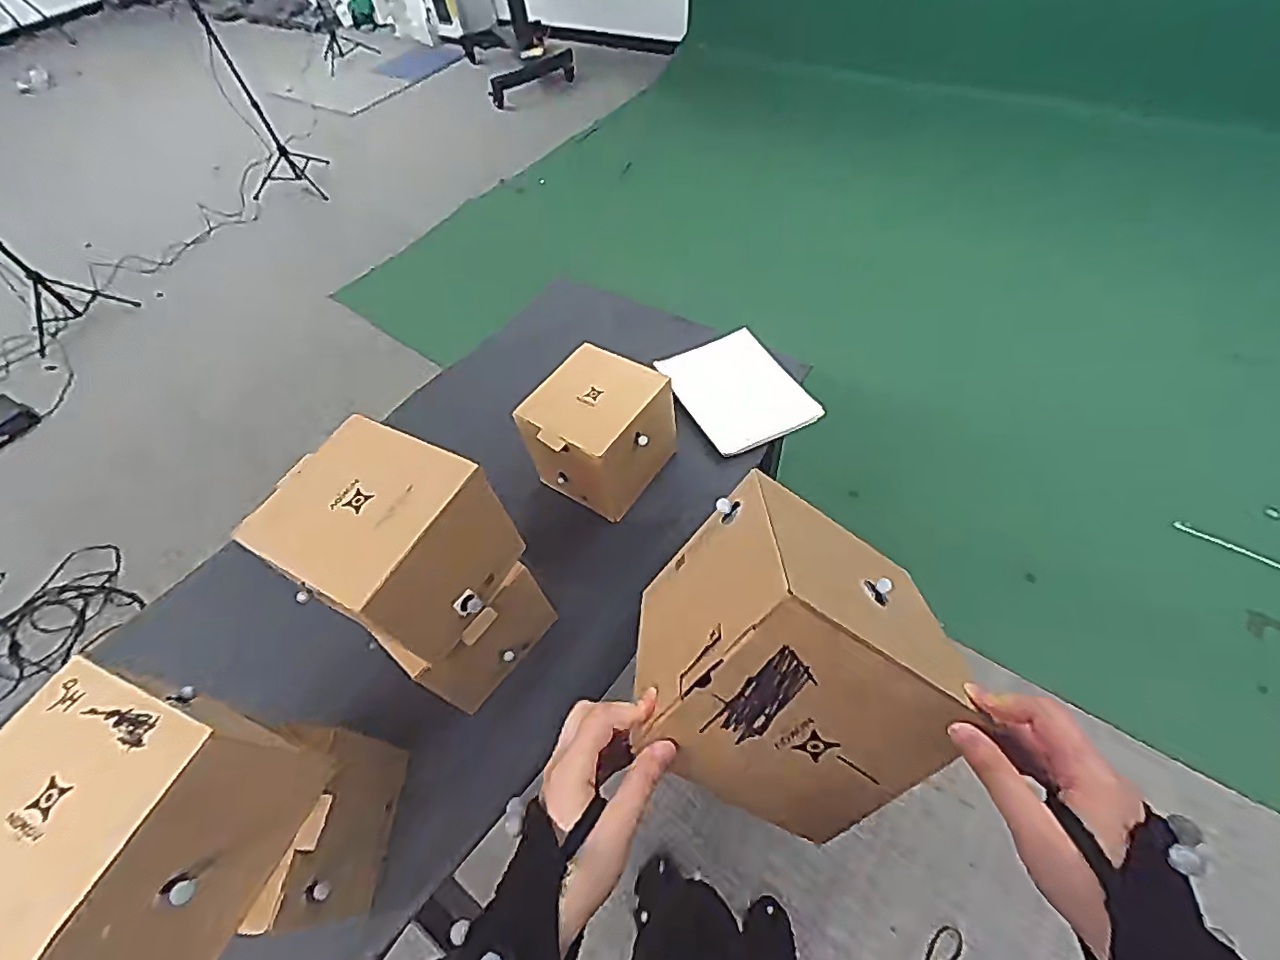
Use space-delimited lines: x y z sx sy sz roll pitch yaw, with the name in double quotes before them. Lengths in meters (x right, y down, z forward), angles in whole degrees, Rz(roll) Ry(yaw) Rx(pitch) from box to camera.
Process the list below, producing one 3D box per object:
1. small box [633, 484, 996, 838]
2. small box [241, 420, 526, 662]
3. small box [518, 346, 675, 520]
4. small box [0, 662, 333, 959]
"small box" 0.113 0.126 0.424 0.179 0.168 0.176 32 24 -12
"small box" -0.252 0.069 0.574 0.179 0.176 0.168 20 61 20
"small box" -0.056 -0.071 0.846 0.168 0.176 0.179 26 63 25
"small box" -0.402 0.281 0.442 0.168 0.176 0.179 15 59 17
